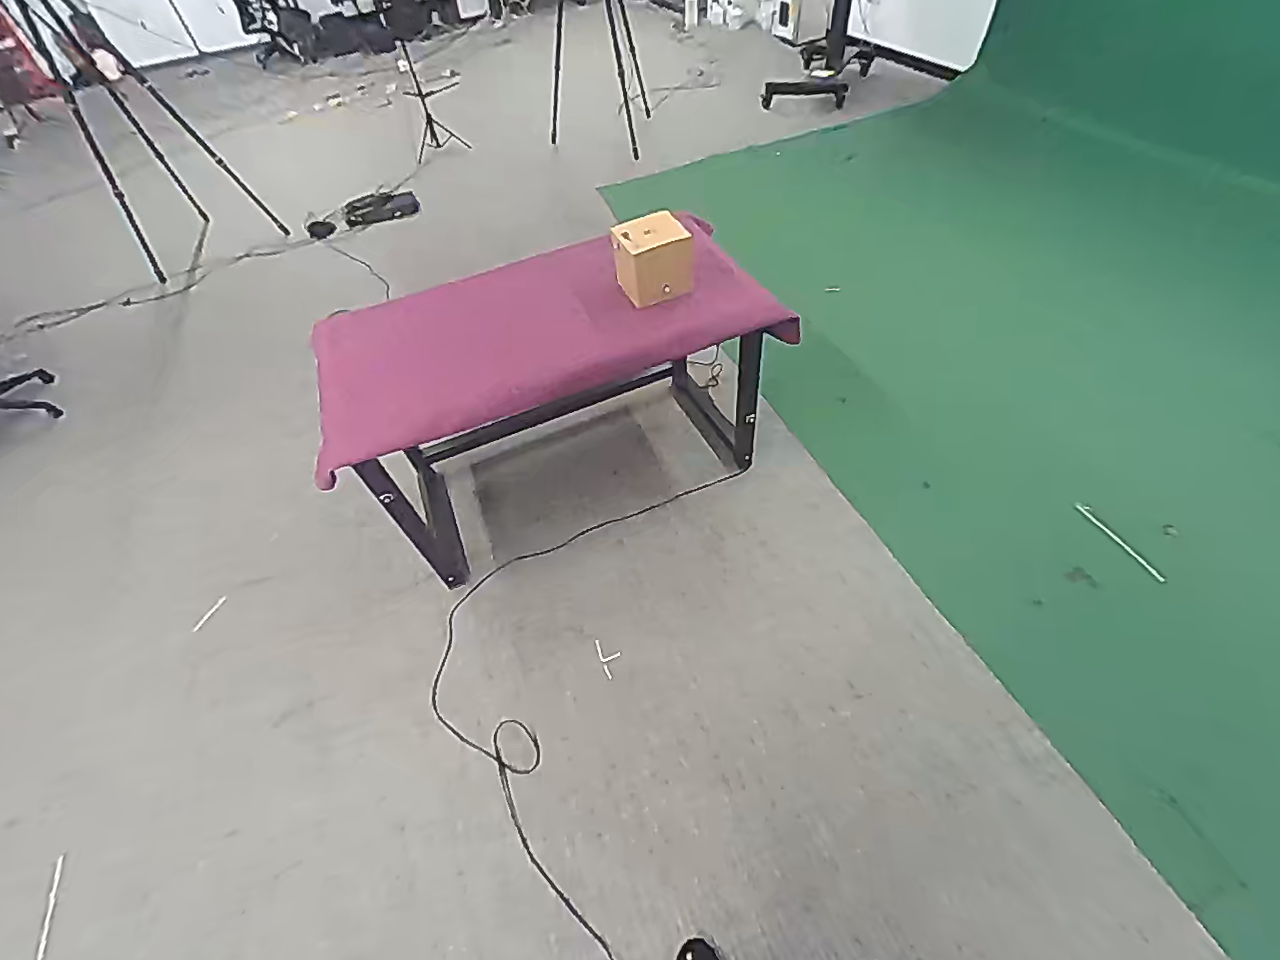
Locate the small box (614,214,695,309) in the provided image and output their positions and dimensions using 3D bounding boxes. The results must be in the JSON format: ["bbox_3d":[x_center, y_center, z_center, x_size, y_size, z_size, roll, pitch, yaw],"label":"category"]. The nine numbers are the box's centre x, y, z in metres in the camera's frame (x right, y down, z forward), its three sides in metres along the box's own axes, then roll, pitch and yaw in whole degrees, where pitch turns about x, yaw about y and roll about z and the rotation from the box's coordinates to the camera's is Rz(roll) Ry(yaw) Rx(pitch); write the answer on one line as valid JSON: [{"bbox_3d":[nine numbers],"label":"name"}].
[{"bbox_3d":[0.040,-0.608,1.512,0.179,0.176,0.168,-21,52,-10],"label":"small box"}]
